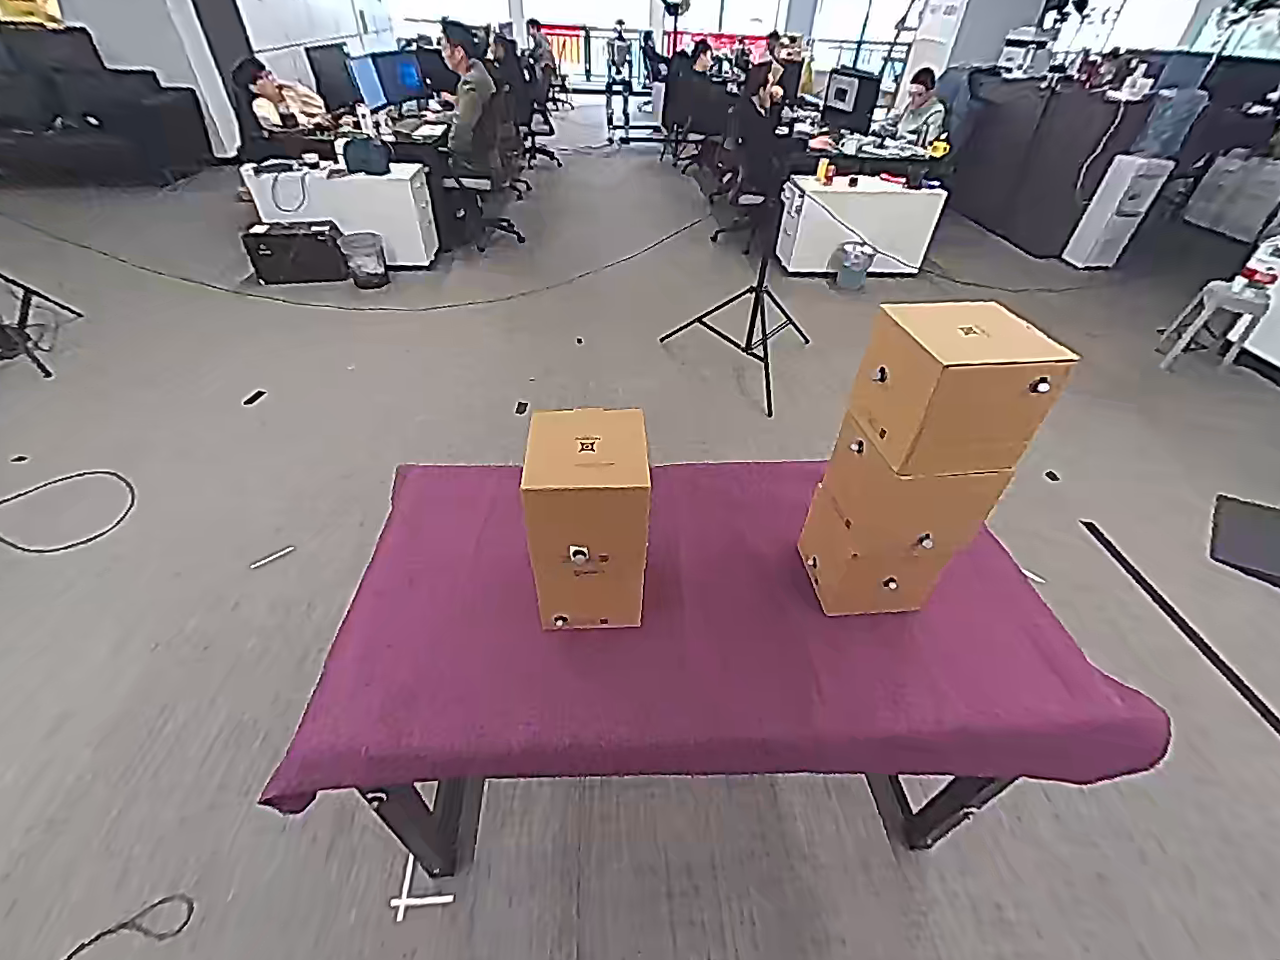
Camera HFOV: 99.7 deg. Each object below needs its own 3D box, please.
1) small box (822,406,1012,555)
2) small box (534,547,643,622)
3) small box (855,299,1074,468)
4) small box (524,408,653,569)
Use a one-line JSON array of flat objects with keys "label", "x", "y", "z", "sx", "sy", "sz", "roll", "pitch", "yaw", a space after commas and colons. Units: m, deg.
[{"label": "small box", "x": 0.409, "y": -0.002, "z": 0.835, "sx": 0.179, "sy": 0.176, "sz": 0.168, "roll": -4, "pitch": 41, "yaw": -8}, {"label": "small box", "x": -0.081, "y": 0.125, "z": 0.912, "sx": 0.168, "sy": 0.176, "sz": 0.179, "roll": -1, "pitch": 41, "yaw": -4}, {"label": "small box", "x": 0.413, "y": -0.130, "z": 0.733, "sx": 0.179, "sy": 0.176, "sz": 0.168, "roll": -4, "pitch": 42, "yaw": -7}, {"label": "small box", "x": -0.072, "y": 0.011, "z": 0.796, "sx": 0.168, "sy": 0.176, "sz": 0.179, "roll": -2, "pitch": 43, "yaw": -4}]
